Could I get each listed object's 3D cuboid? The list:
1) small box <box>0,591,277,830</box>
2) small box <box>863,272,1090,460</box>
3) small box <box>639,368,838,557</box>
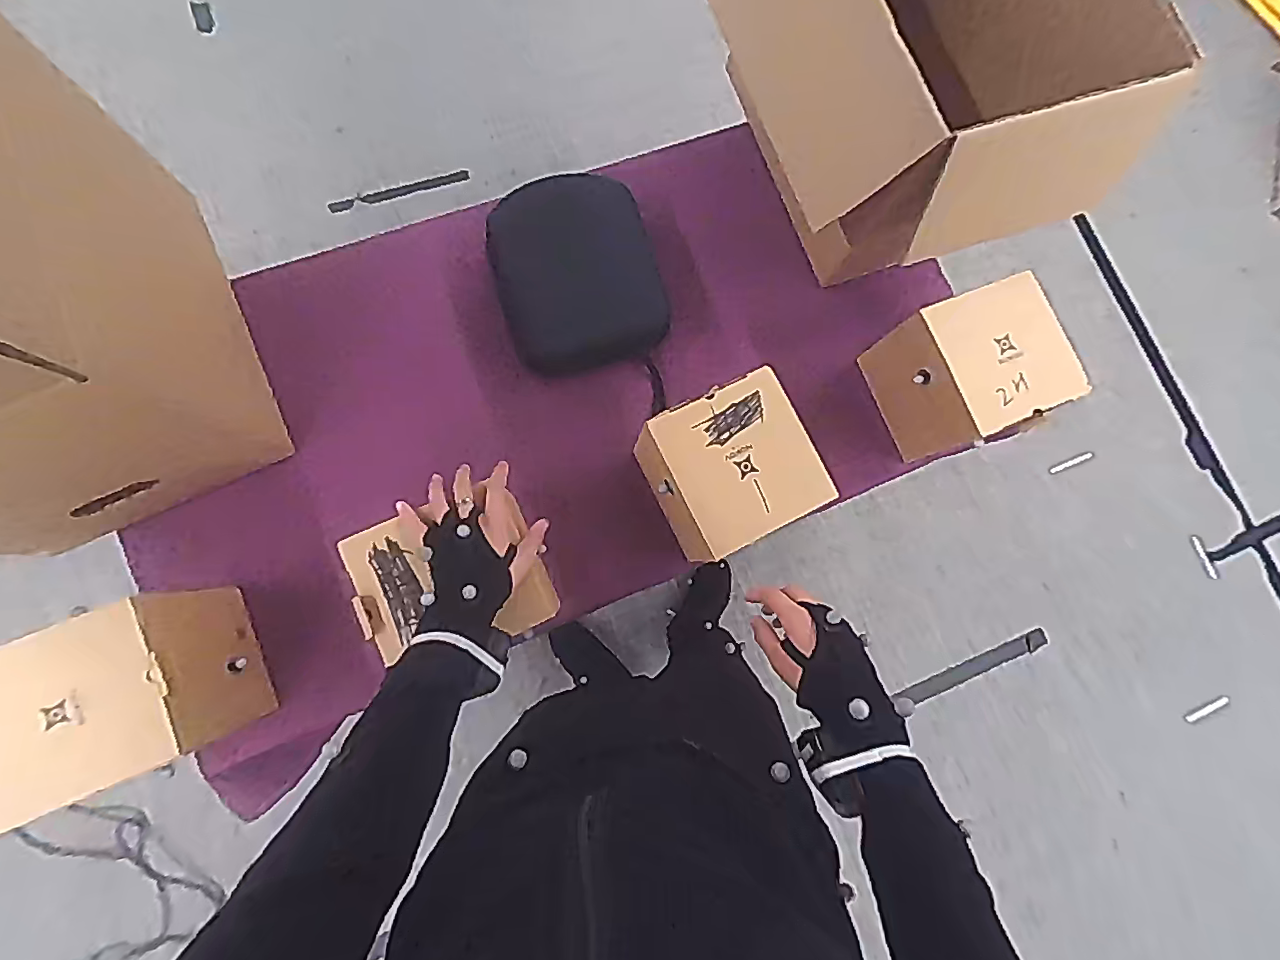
[{"bbox_3d":[-0.551,0.231,0.592,0.179,0.176,0.168,-22,84,-10],"label":"small box"},{"bbox_3d":[0.440,-0.145,0.741,0.168,0.176,0.179,-21,84,-7],"label":"small box"},{"bbox_3d":[0.110,-0.011,0.691,0.168,0.176,0.179,-26,86,-8],"label":"small box"}]
